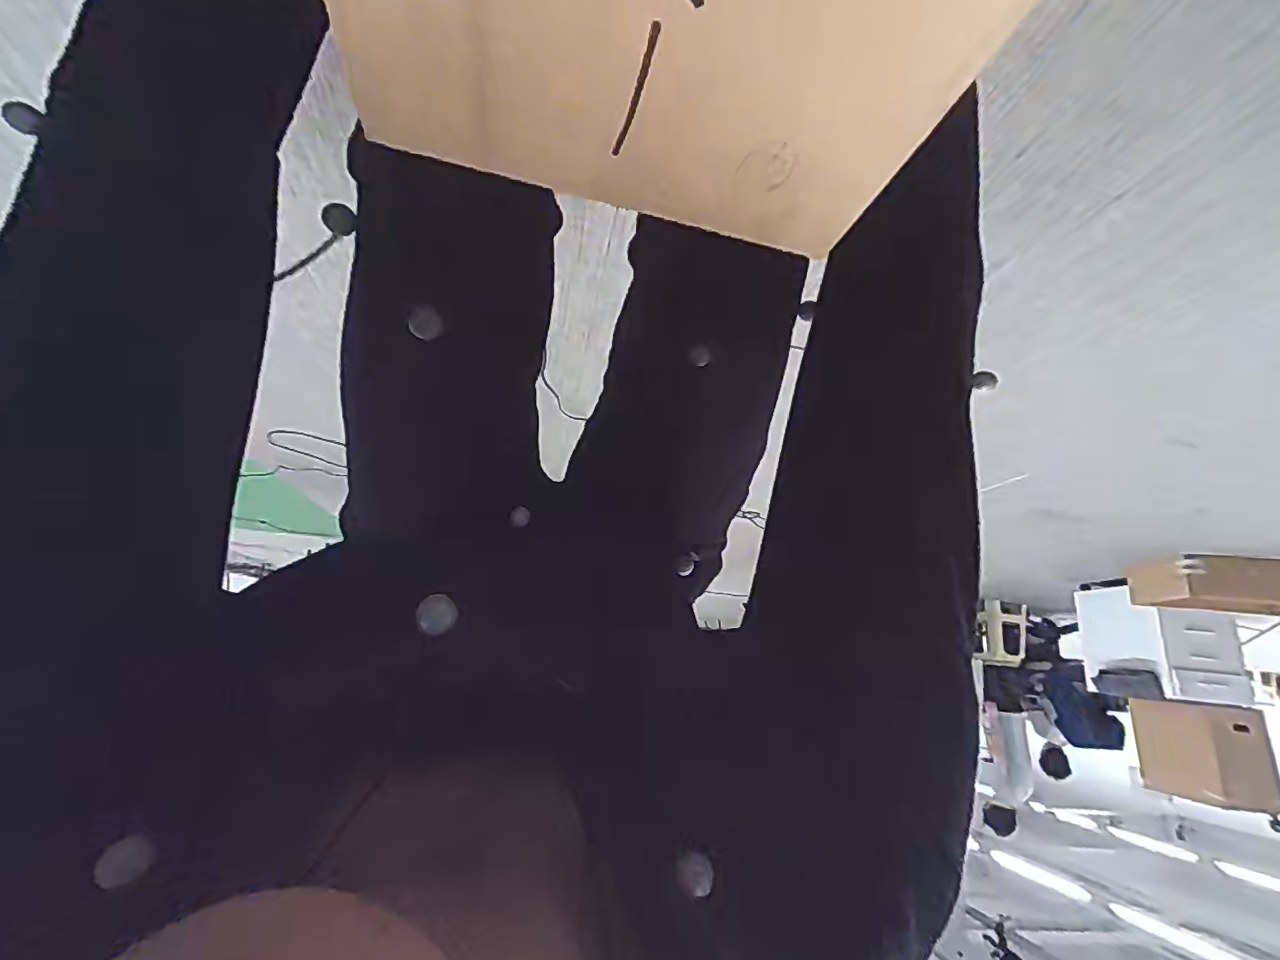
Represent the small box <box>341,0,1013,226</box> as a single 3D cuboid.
[{"bbox_3d":[0.020,-0.208,0.133,0.168,0.176,0.179,10,161,-10],"label":"small box"}]
